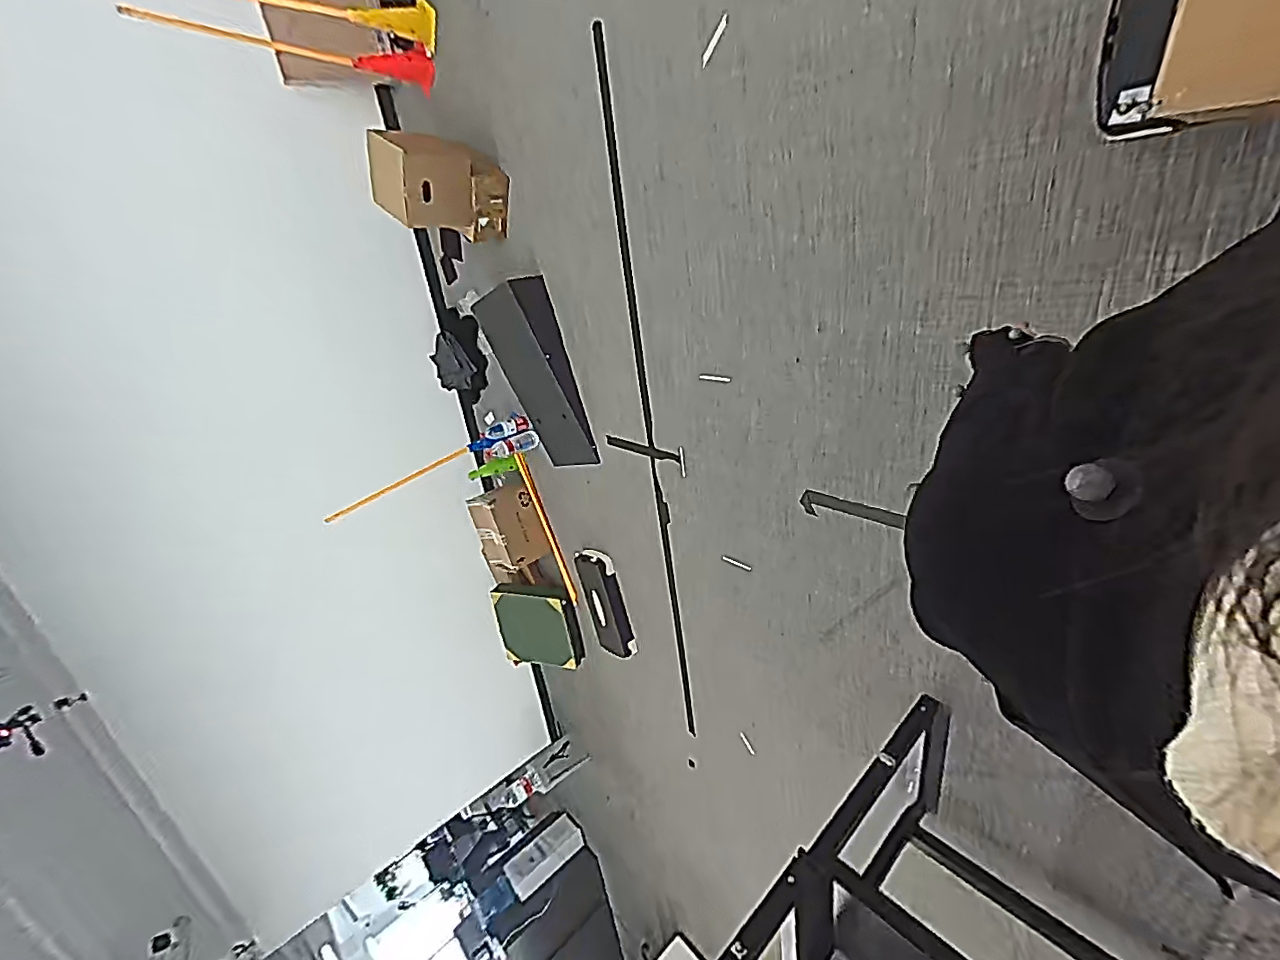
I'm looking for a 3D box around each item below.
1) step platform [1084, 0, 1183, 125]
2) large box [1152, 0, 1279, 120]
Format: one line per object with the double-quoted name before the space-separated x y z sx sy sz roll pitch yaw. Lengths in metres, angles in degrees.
"step platform" 1.029 -0.671 0.707 0.684 0.204 0.286 26 130 43
"large box" 0.868 -0.585 0.551 0.408 0.320 0.320 24 128 45
